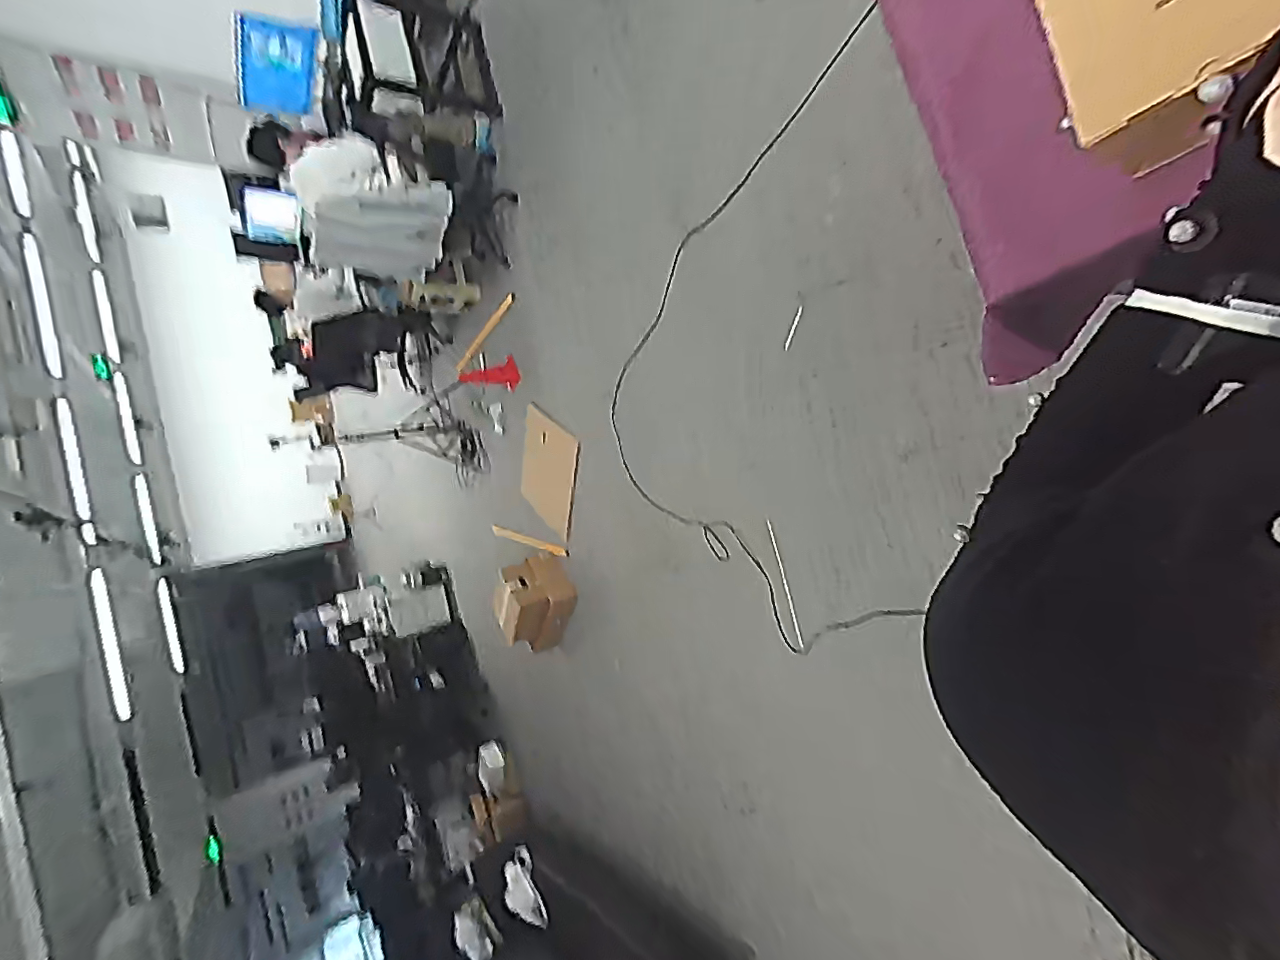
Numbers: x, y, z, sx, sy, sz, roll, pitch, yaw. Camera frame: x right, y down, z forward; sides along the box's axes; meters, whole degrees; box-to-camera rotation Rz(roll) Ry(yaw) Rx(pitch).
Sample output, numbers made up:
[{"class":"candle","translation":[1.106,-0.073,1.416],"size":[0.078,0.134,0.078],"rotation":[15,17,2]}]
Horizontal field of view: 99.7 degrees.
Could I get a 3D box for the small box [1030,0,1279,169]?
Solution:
[{"class":"small box","translation":[0.481,-0.413,0.476],"size":[0.168,0.176,0.179],"rotation":[-20,84,54]}]
